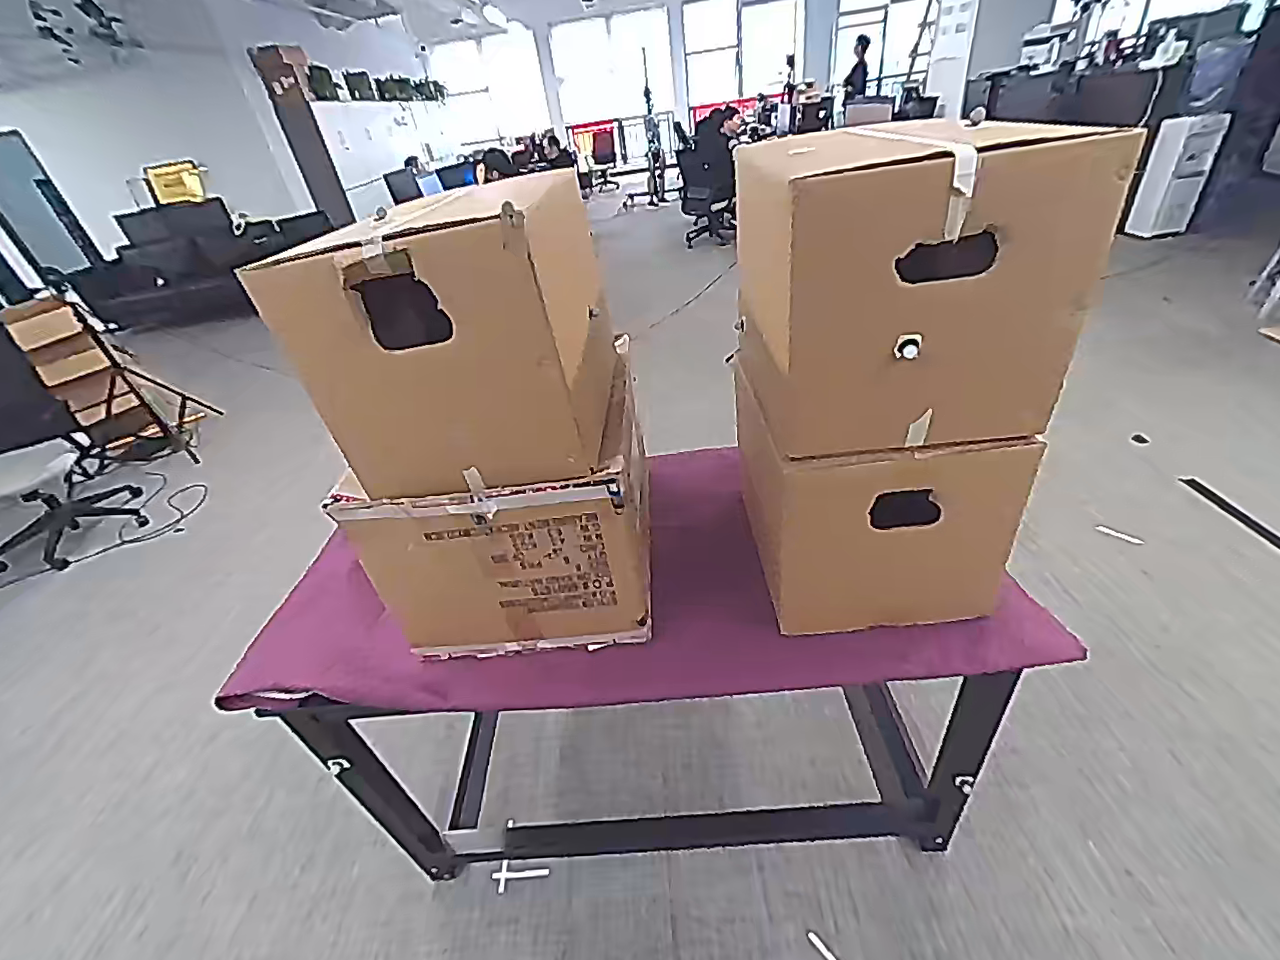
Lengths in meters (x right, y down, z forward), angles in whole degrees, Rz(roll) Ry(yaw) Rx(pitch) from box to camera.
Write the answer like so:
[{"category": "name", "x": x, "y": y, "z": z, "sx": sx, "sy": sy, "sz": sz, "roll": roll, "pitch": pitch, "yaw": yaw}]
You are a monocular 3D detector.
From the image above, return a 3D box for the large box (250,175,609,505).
[{"category": "large box", "x": -0.230, "y": -0.220, "z": 0.787, "sx": 0.320, "sy": 0.320, "sz": 0.408, "roll": -9, "pitch": 35, "yaw": 8}]
